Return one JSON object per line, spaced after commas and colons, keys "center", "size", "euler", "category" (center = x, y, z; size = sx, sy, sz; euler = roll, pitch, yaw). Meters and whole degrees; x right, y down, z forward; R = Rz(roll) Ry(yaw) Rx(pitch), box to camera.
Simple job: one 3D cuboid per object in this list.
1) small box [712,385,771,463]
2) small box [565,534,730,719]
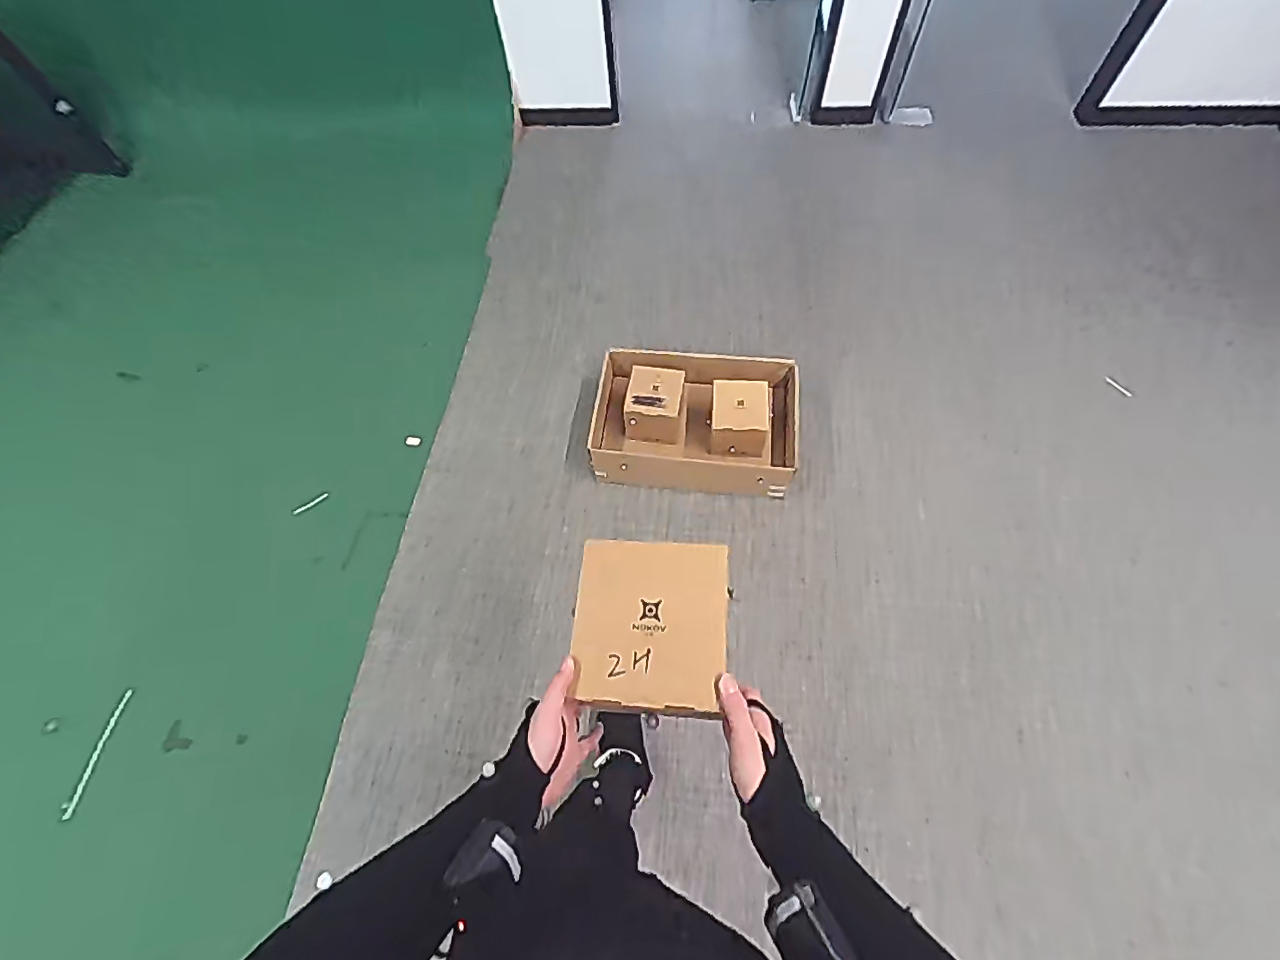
{"center": [0.310, -0.172, 1.679], "size": [0.168, 0.176, 0.179], "euler": [2, 64, 5], "category": "small box"}
{"center": [0.021, 0.179, 0.649], "size": [0.168, 0.176, 0.179], "euler": [1, 63, 10], "category": "small box"}
